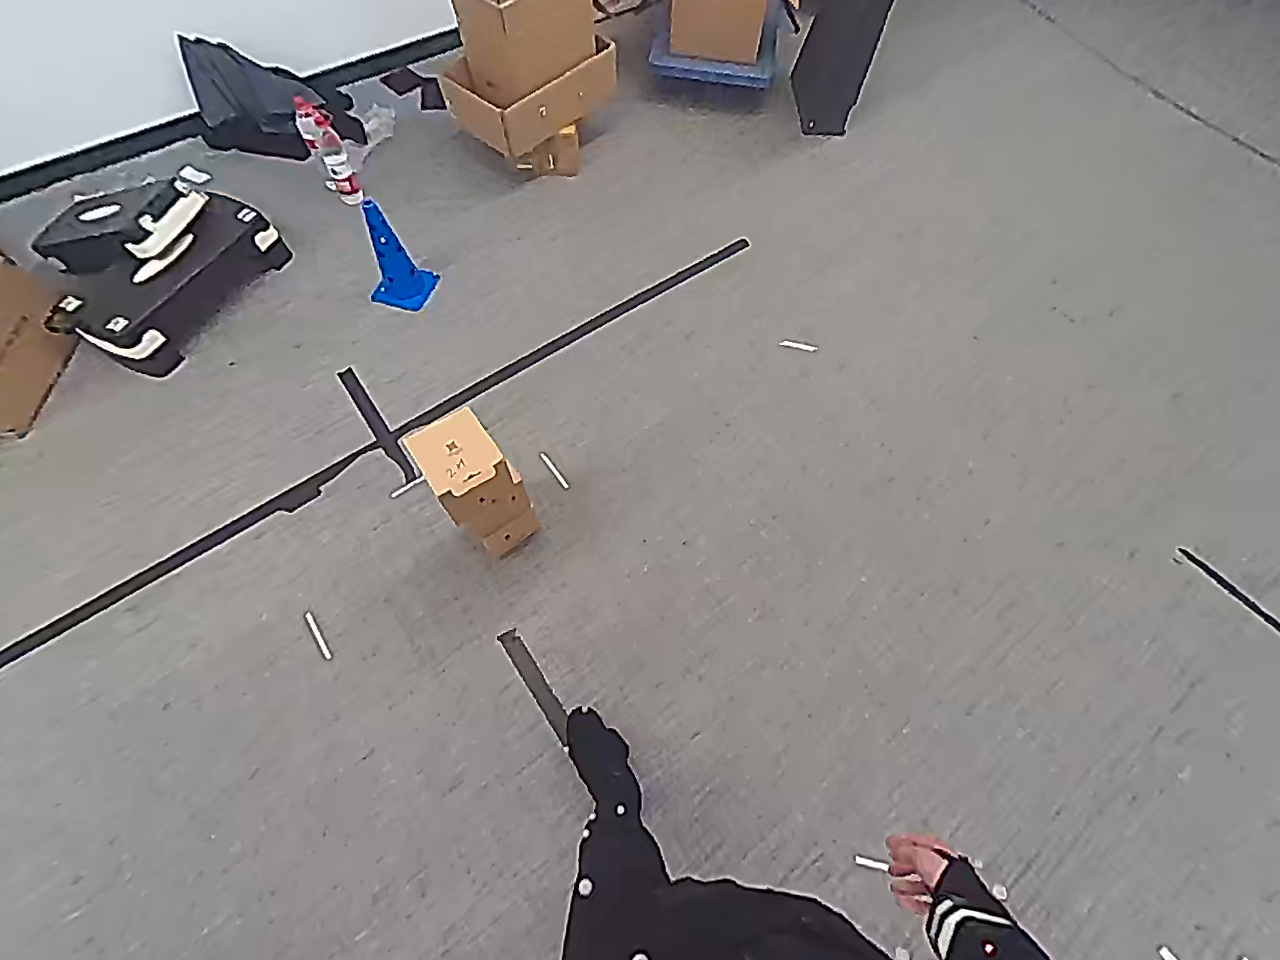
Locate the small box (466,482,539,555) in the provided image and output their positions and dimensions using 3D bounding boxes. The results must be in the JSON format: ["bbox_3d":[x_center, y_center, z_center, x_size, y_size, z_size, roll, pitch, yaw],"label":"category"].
[{"bbox_3d":[-0.414,0.098,1.572,0.168,0.176,0.179,-38,70,-18],"label":"small box"}]

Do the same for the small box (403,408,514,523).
[{"bbox_3d":[-0.418,-0.028,1.265,0.168,0.176,0.179,-32,70,-17],"label":"small box"}]
